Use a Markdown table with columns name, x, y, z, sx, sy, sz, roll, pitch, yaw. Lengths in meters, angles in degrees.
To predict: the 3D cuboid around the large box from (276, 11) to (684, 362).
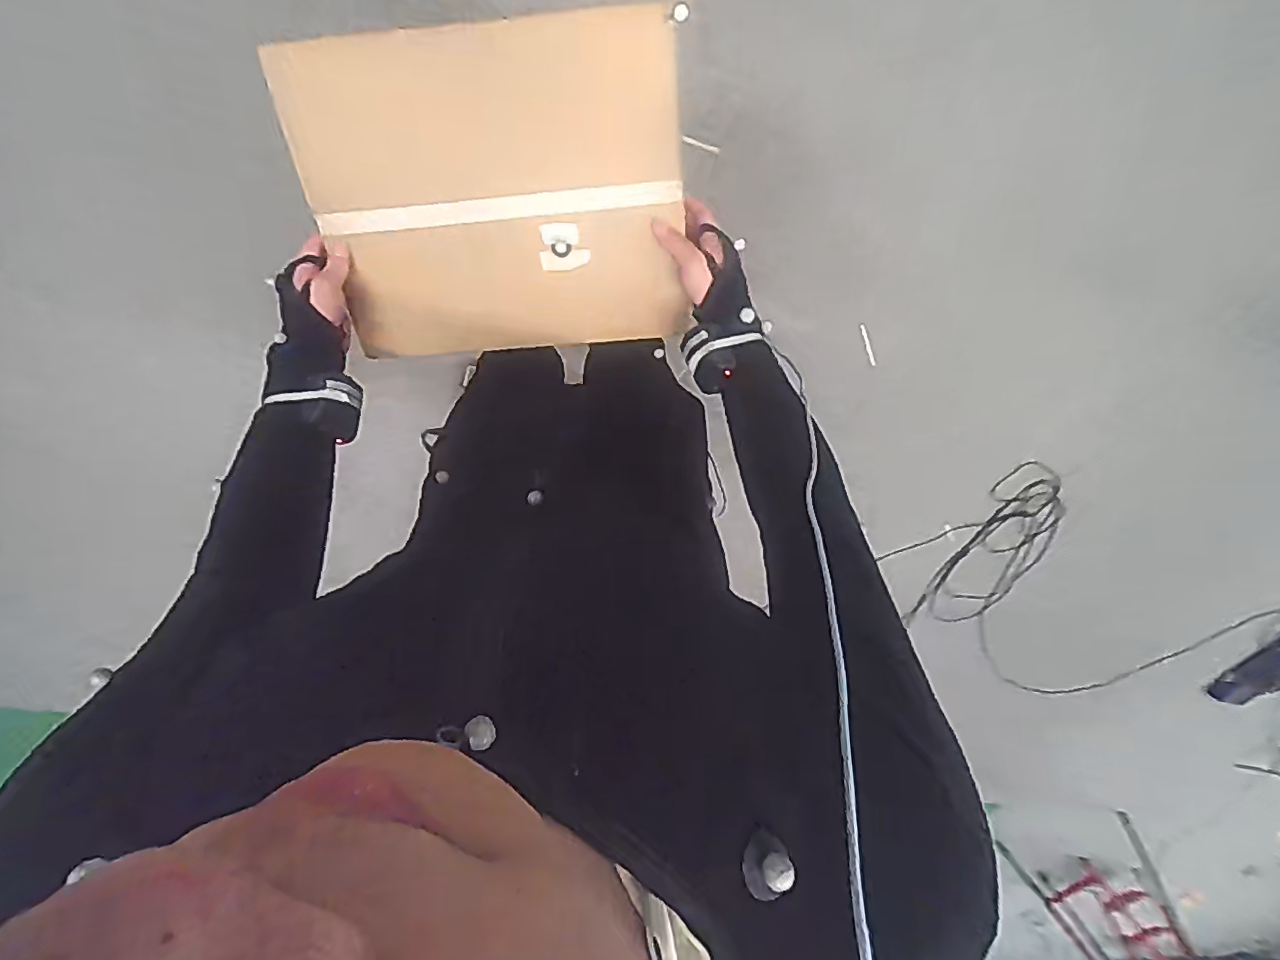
| name | x | y | z | sx | sy | sz | roll | pitch | yaw |
| --- | --- | --- | --- | --- | --- | --- | --- | --- | --- |
| large box | -0.159 | -0.376 | 0.737 | 0.408 | 0.320 | 0.320 | -5 | 121 | 3 |
